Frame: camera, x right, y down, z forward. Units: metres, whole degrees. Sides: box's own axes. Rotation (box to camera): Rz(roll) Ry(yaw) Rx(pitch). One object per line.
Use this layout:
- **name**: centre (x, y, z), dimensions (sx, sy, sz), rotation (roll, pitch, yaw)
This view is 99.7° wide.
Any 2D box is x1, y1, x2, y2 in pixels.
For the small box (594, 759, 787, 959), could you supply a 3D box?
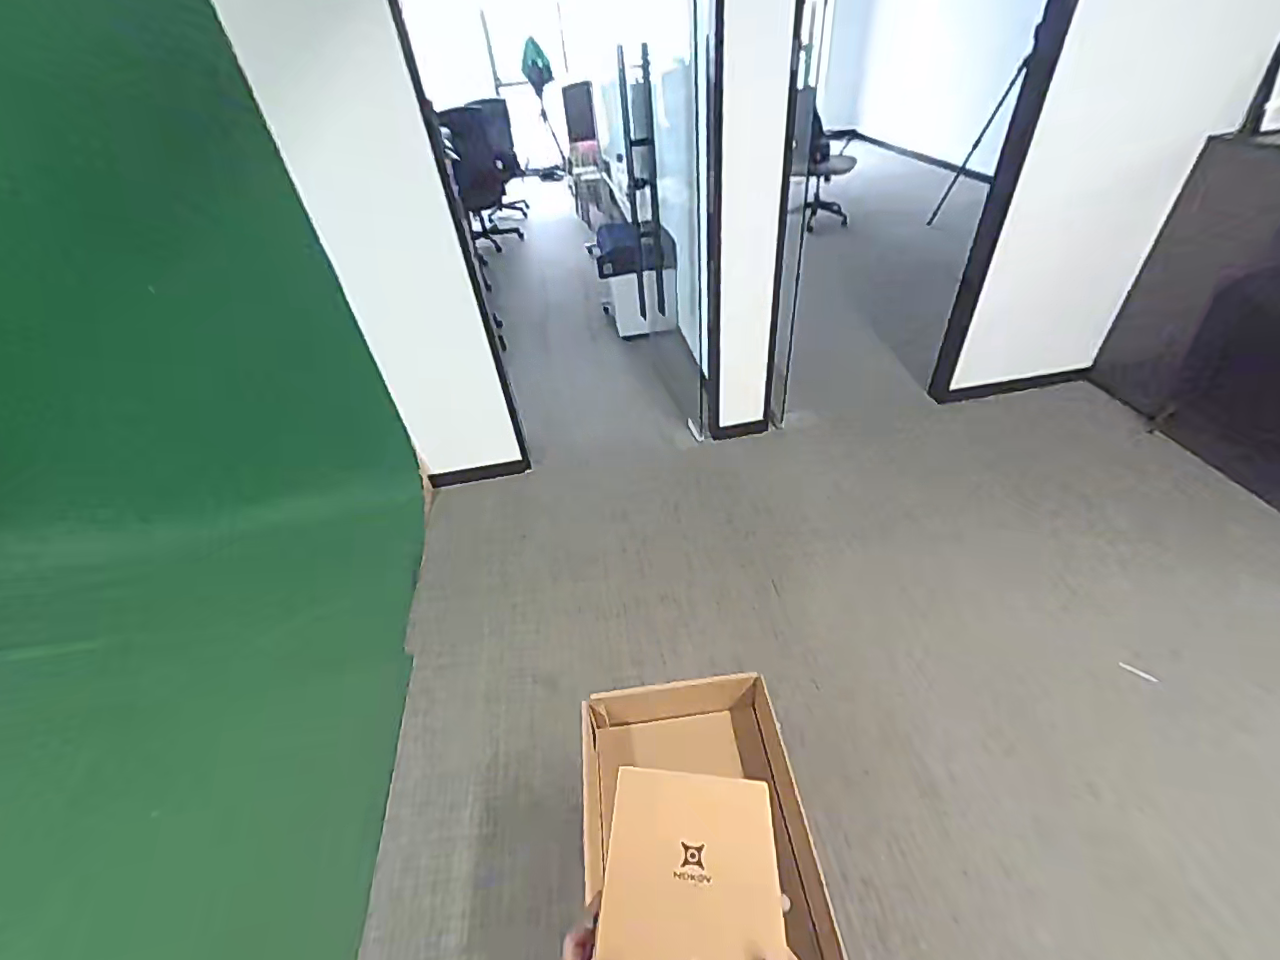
- **small box**: centre (0.044, 0.427, 0.559), dimensions (0.168, 0.176, 0.179), rotation (5, 32, 3)
